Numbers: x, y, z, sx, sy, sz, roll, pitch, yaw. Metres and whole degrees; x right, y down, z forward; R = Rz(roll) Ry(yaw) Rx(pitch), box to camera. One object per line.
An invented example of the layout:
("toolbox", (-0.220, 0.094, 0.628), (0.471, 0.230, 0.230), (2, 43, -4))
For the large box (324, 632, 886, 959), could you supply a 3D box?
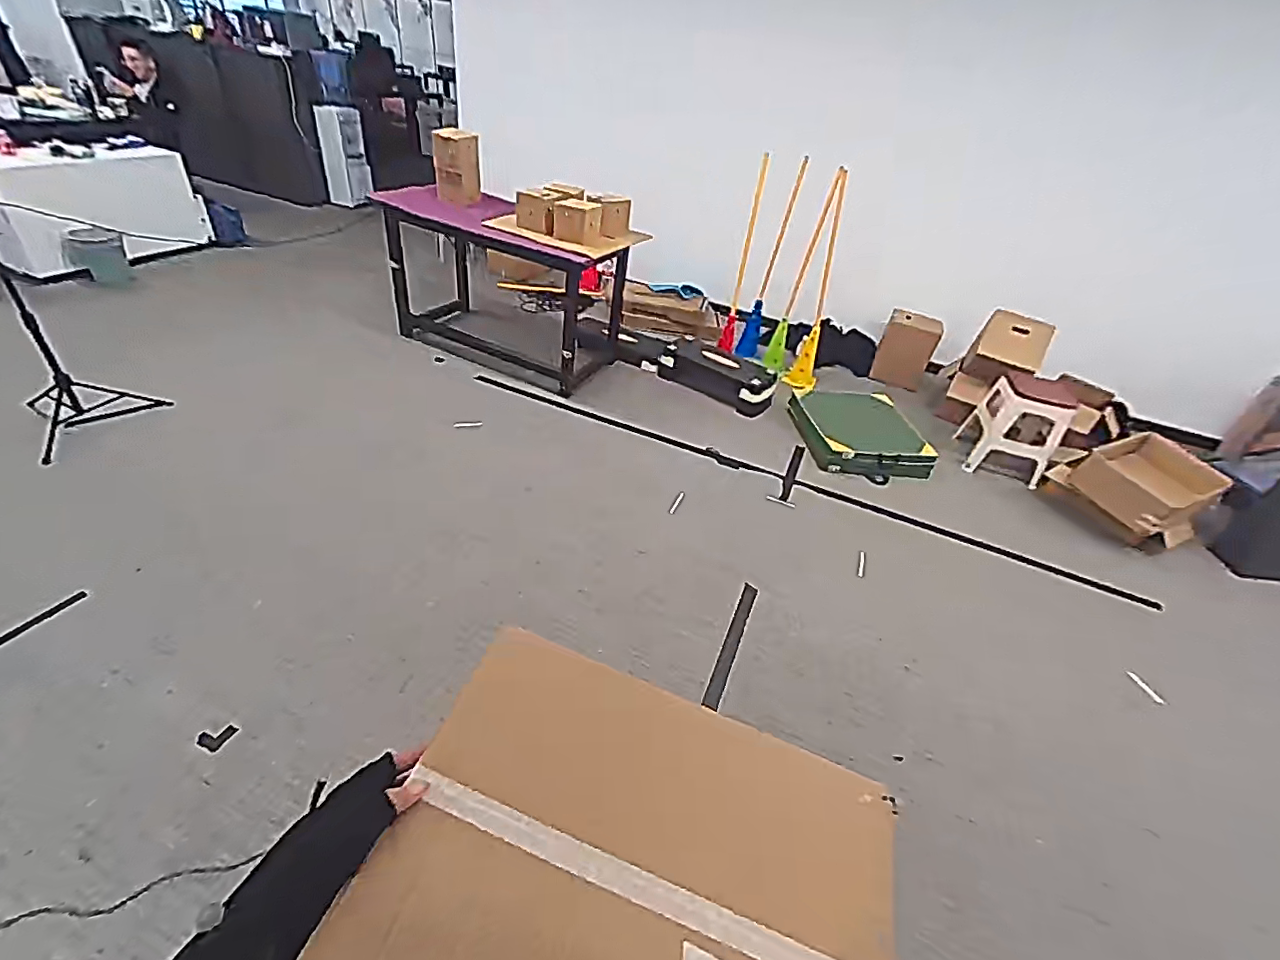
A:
("large box", (-0.024, 0.423, 0.544), (0.408, 0.320, 0.320), (21, 46, 7))
